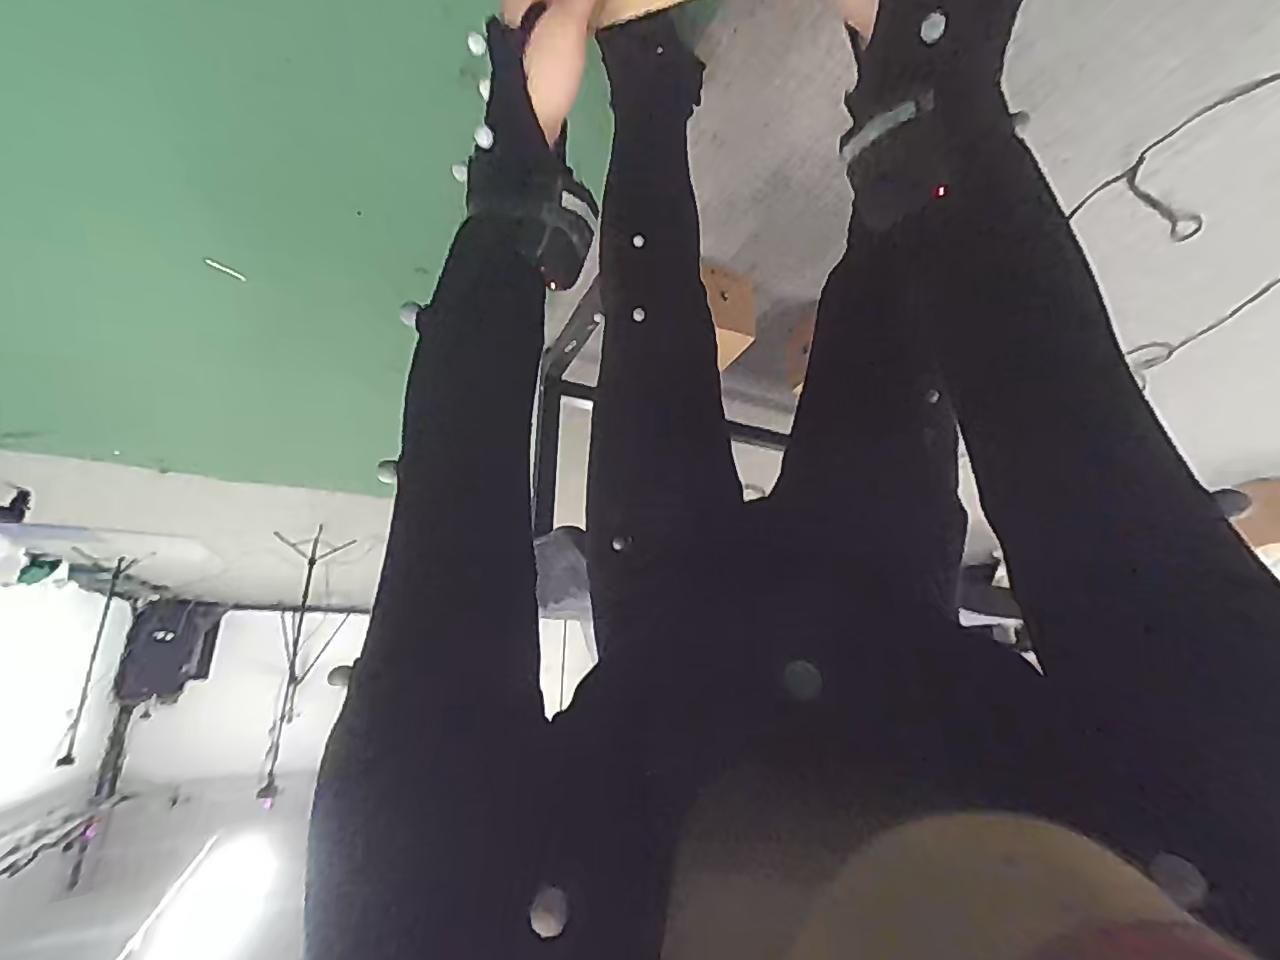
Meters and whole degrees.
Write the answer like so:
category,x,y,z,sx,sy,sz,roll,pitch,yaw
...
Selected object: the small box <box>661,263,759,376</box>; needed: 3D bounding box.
category,x,y,z,sx,sy,sz,roll,pitch,yaw
small box,0.152,-0.366,1.245,0.168,0.176,0.179,8,160,-20
